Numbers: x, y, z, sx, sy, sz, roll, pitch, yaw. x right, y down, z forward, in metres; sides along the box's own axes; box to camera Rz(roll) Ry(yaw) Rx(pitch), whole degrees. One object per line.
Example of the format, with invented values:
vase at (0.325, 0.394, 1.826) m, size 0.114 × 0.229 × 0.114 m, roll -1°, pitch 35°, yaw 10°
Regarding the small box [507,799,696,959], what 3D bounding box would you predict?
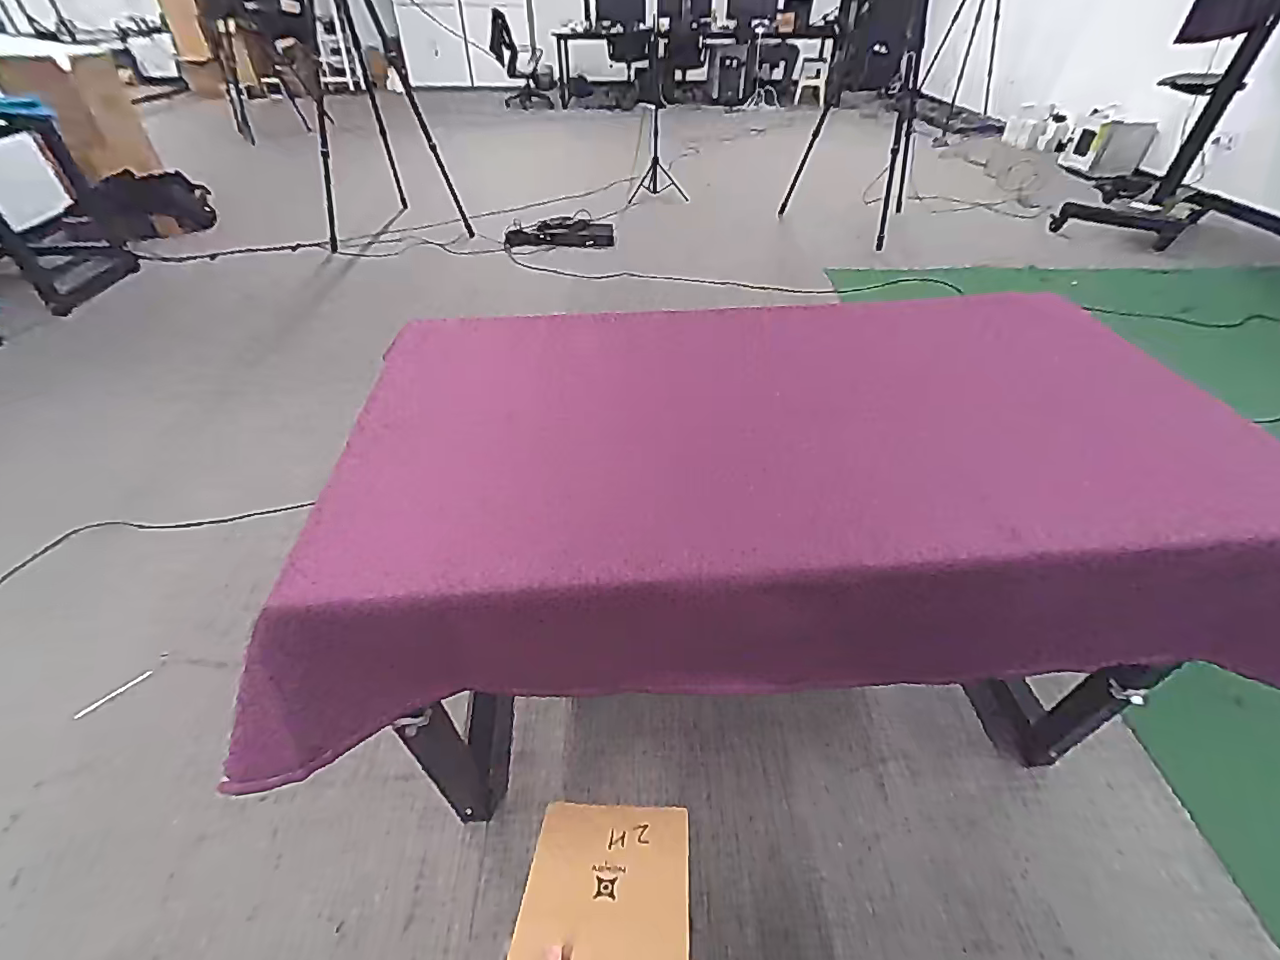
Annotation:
small box at (-0.027, 0.491, 0.589) m, size 0.168 × 0.176 × 0.179 m, roll 0°, pitch 16°, yaw 8°
